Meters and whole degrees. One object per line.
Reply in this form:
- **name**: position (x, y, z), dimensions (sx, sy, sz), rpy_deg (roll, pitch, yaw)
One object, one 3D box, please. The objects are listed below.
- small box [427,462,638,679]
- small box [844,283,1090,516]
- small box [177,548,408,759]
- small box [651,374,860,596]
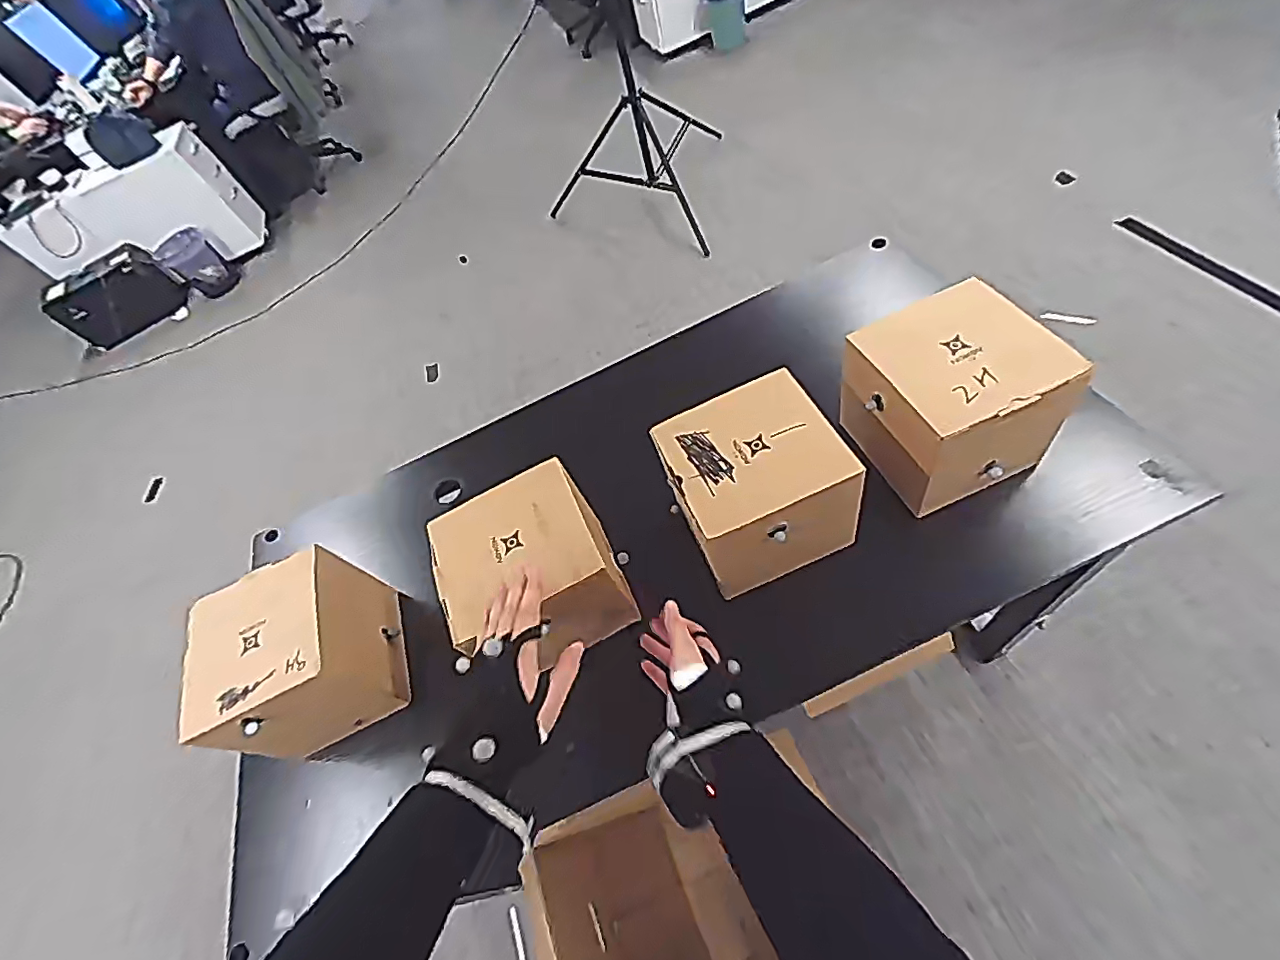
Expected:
- **small box**: position (-0.125, 0.117, 0.657), dimensions (0.179, 0.176, 0.168), rpy_deg (-28, 55, -3)
- **small box**: position (0.358, -0.089, 0.639), dimensions (0.168, 0.176, 0.179), rpy_deg (-25, 54, 2)
- **small box**: position (-0.417, 0.221, 0.676), dimensions (0.168, 0.176, 0.179), rpy_deg (-26, 54, -1)
- **small box**: position (0.135, 0.013, 0.642), dimensions (0.179, 0.176, 0.168), rpy_deg (-24, 54, 0)
